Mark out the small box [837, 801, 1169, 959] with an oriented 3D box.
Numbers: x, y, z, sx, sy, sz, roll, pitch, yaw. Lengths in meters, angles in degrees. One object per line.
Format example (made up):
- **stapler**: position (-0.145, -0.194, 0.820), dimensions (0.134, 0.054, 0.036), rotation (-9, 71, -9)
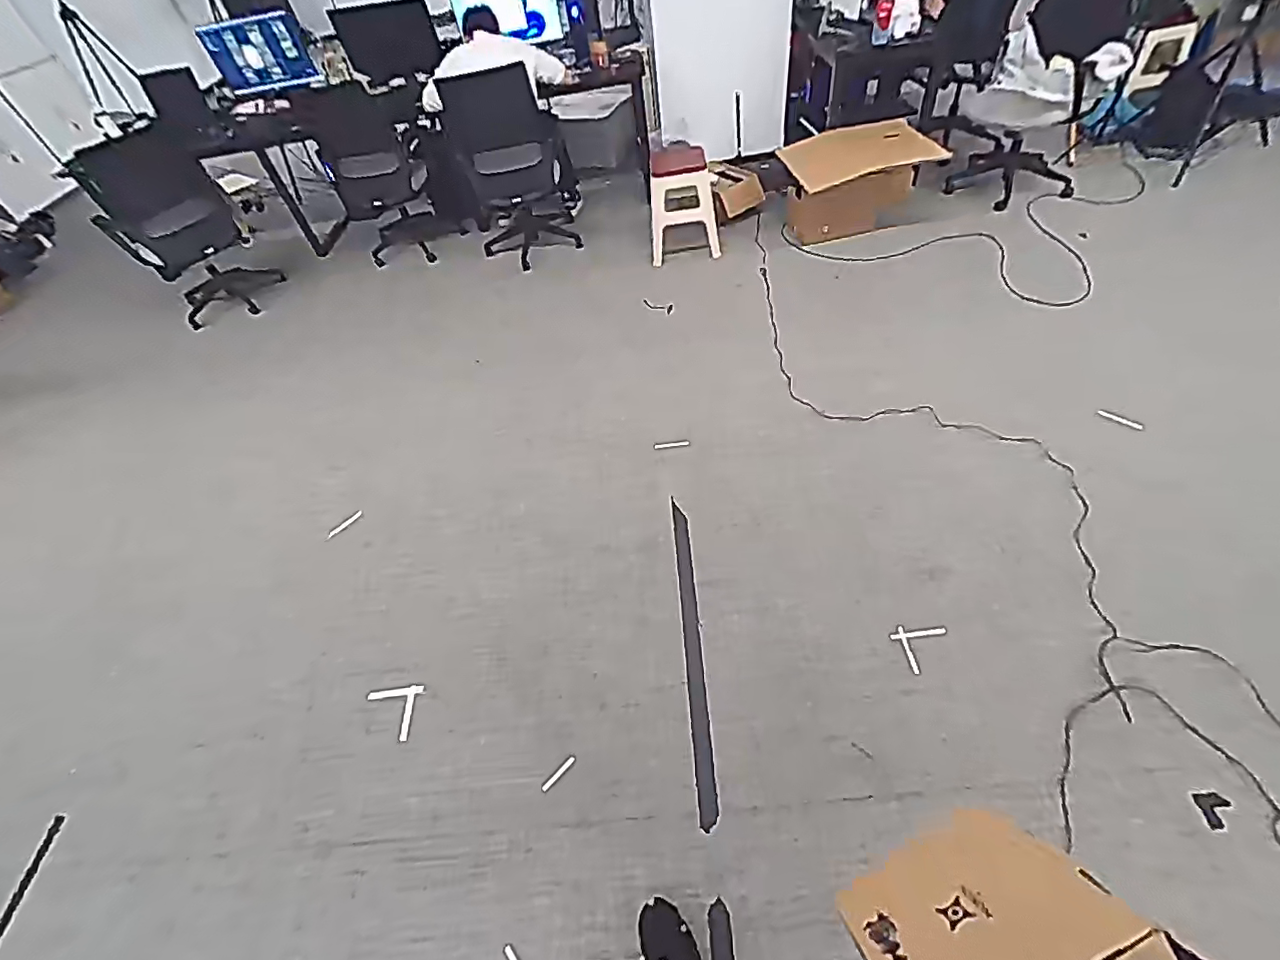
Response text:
- **small box**: position (0.303, 0.417, 0.438), dimensions (0.179, 0.168, 0.176), rotation (-28, 88, -5)
